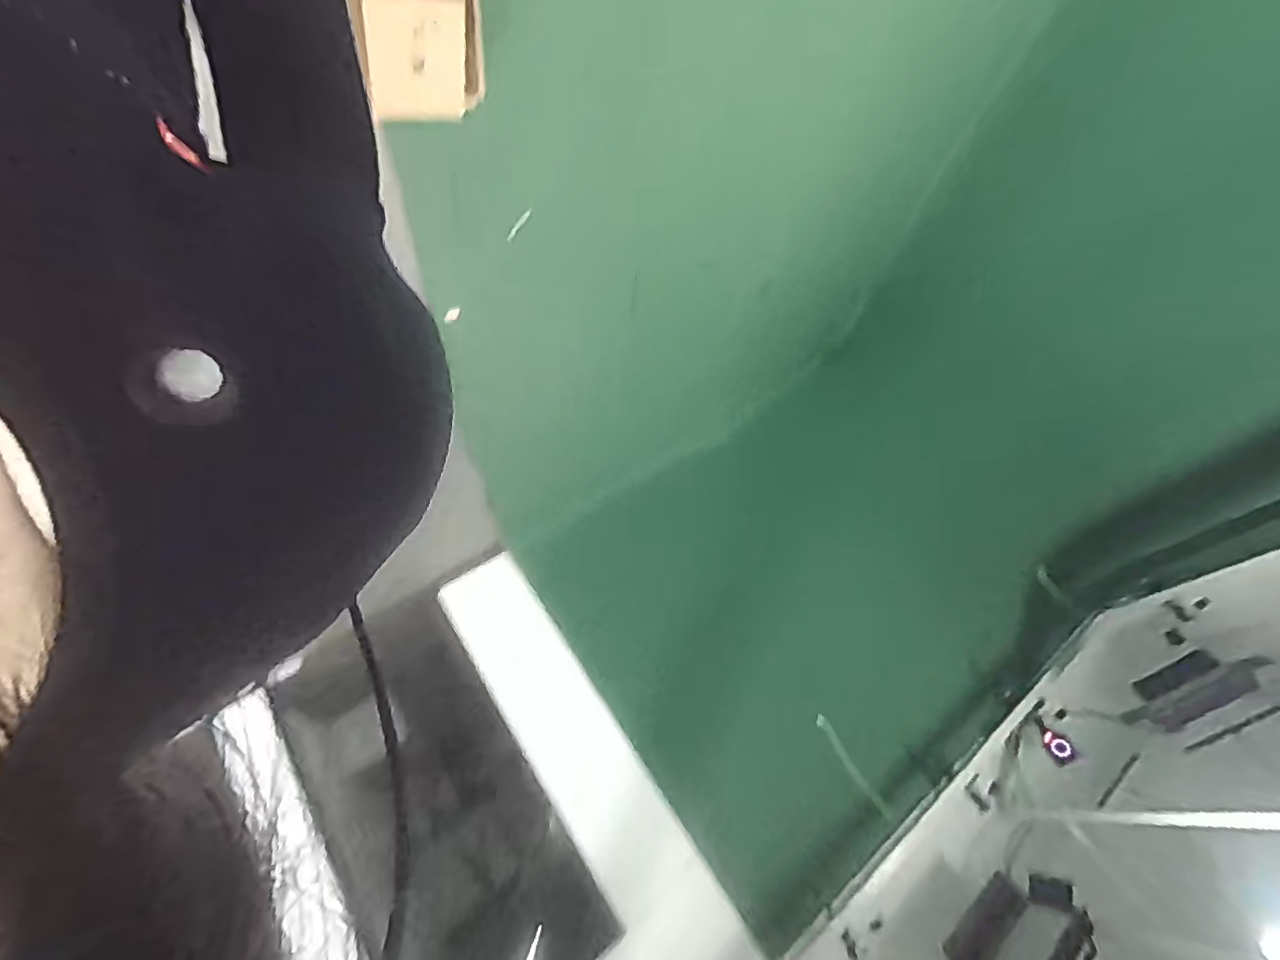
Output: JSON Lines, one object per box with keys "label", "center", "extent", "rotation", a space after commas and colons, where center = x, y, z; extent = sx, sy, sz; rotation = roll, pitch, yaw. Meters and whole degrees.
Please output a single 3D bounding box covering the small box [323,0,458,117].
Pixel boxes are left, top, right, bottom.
{"label": "small box", "center": [-0.431, -0.767, 0.938], "extent": [0.168, 0.176, 0.179], "rotation": [-24, 154, -32]}
